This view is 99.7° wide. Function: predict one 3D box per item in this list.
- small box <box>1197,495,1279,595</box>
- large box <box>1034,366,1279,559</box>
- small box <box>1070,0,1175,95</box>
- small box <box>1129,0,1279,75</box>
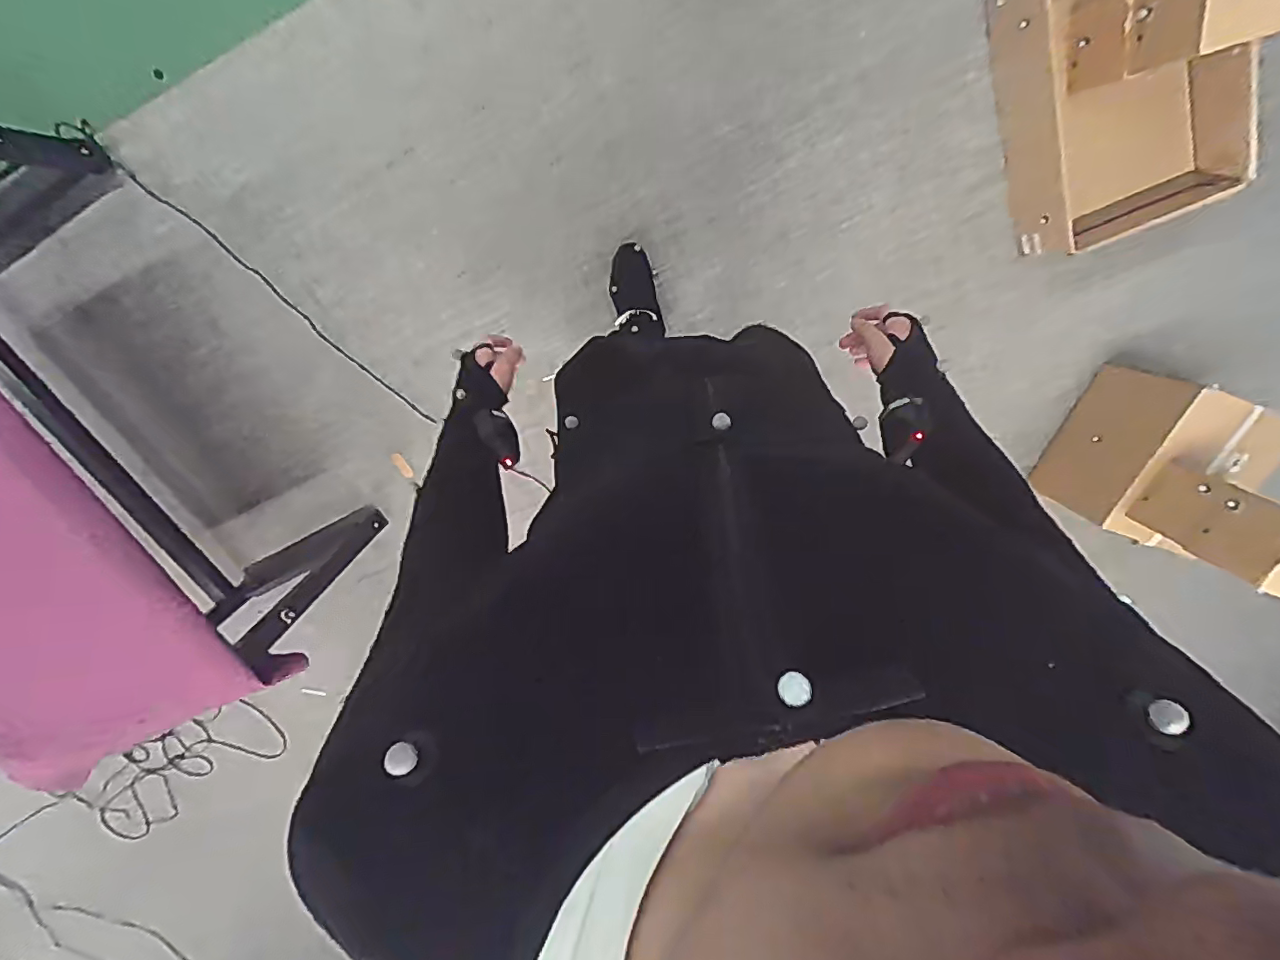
[{"bbox_3d":[1.358,0.148,1.135,0.179,0.176,0.168,18,111,-7],"label":"small box"},{"bbox_3d":[1.418,-0.058,1.494,0.320,0.320,0.408,17,110,-7],"label":"large box"},{"bbox_3d":[1.067,-0.955,1.149,0.179,0.176,0.168,-18,114,8],"label":"small box"},{"bbox_3d":[1.073,-0.888,1.000,0.179,0.176,0.168,-14,114,7],"label":"small box"}]
